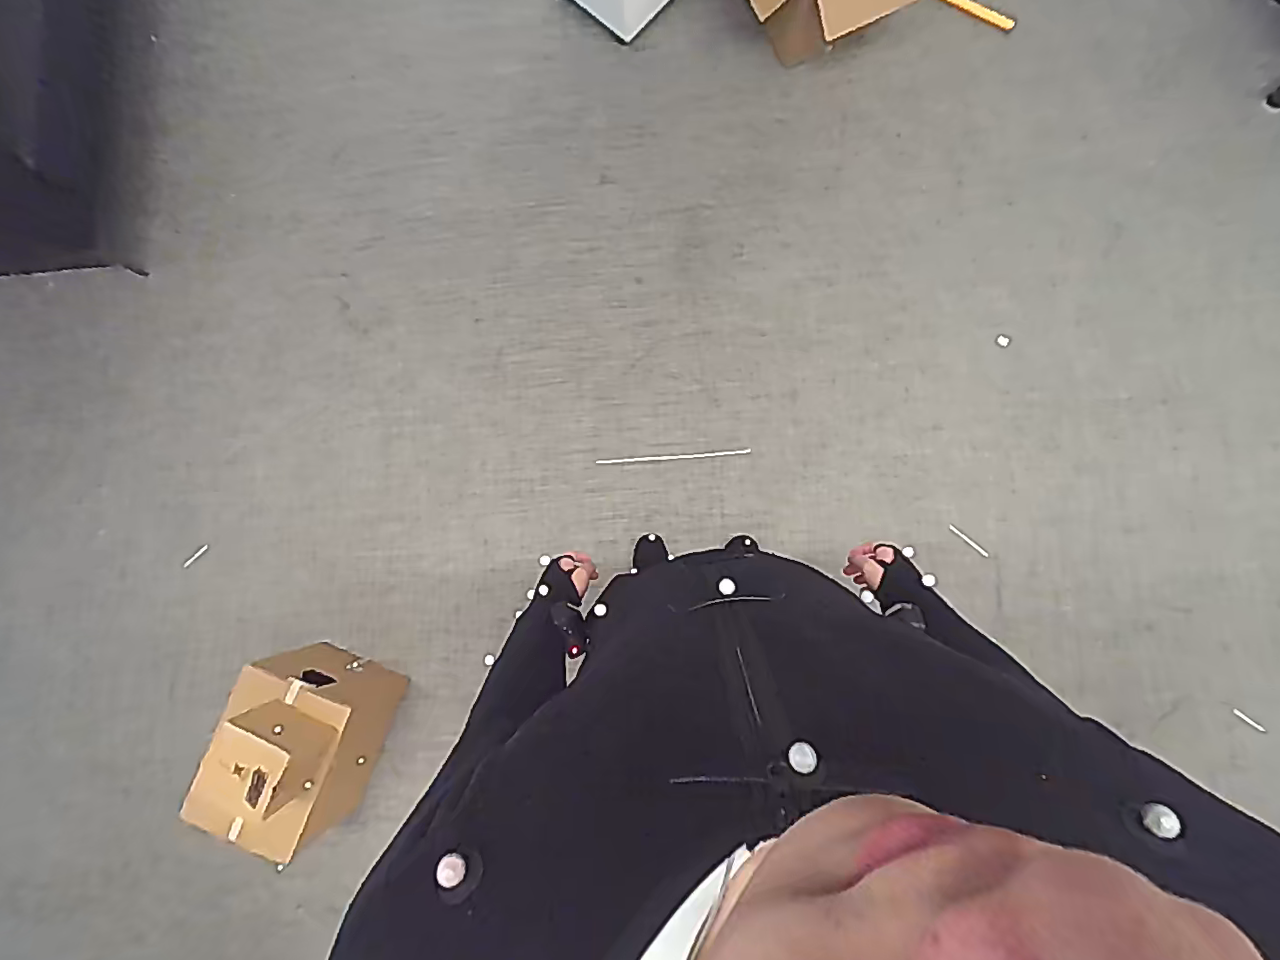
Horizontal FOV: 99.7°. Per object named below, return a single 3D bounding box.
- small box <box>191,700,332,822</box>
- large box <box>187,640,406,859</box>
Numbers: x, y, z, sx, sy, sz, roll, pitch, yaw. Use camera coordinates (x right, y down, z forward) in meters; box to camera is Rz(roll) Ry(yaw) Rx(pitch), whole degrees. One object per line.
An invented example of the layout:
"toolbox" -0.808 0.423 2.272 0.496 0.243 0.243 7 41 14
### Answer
"small box" -0.864 0.638 1.255 0.179 0.176 0.168 24 85 4
"large box" -0.919 0.710 1.498 0.320 0.320 0.408 20 86 5
